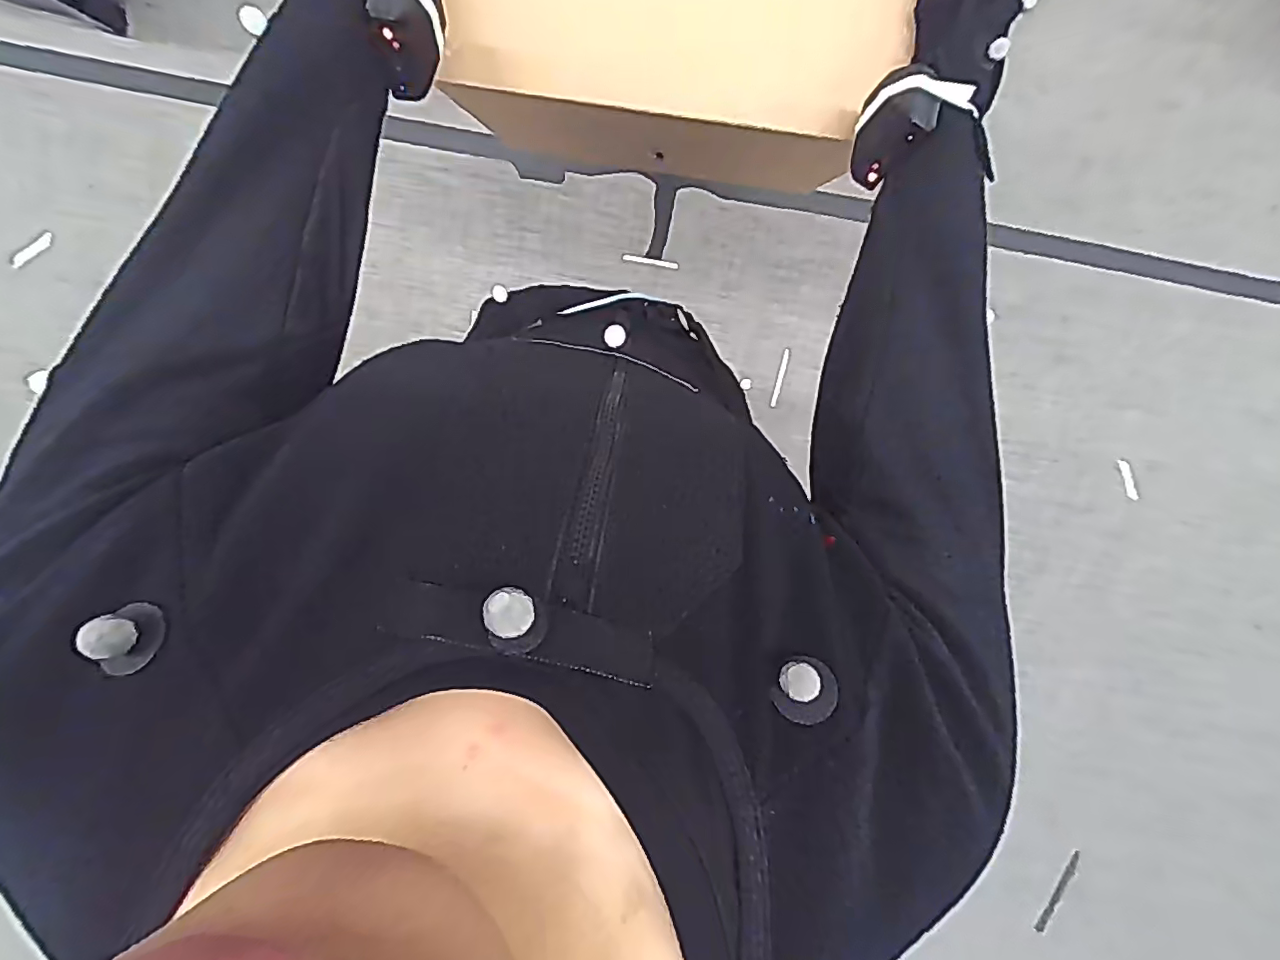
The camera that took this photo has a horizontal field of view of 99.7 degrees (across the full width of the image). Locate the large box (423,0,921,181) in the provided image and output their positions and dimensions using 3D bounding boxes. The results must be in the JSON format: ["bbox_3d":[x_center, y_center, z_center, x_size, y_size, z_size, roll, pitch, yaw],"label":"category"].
[{"bbox_3d":[0.043,-0.512,0.540,0.408,0.320,0.320,9,111,0],"label":"large box"}]
